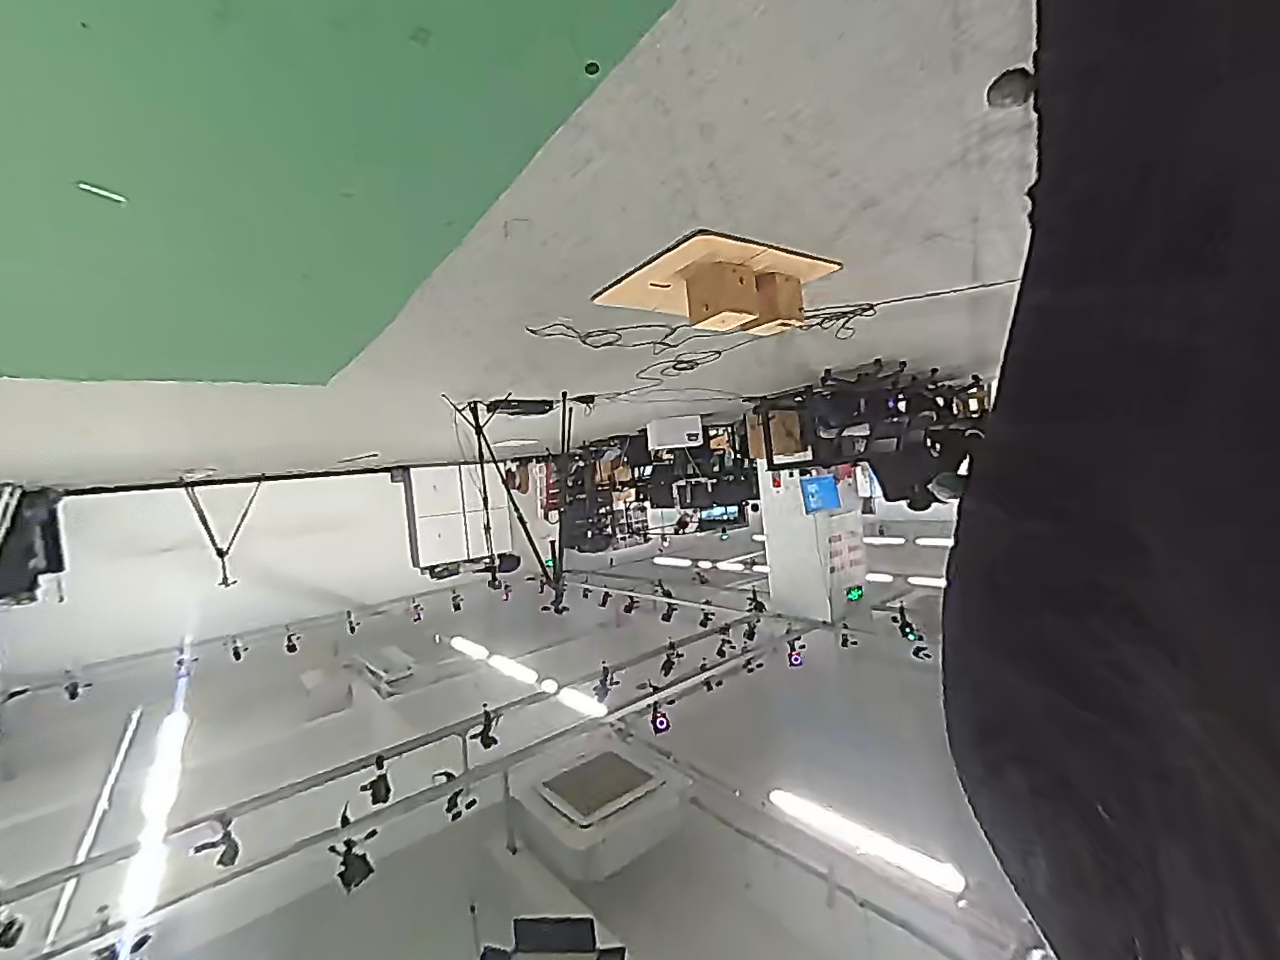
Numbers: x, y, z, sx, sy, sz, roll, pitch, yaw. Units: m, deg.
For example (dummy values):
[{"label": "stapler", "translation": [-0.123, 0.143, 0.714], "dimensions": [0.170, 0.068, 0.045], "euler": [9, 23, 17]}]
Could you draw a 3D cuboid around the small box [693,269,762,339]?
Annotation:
[{"label": "small box", "translation": [0.297, -0.600, 1.857], "dimensions": [0.168, 0.176, 0.179], "euler": [-4, 178, -35]}]
